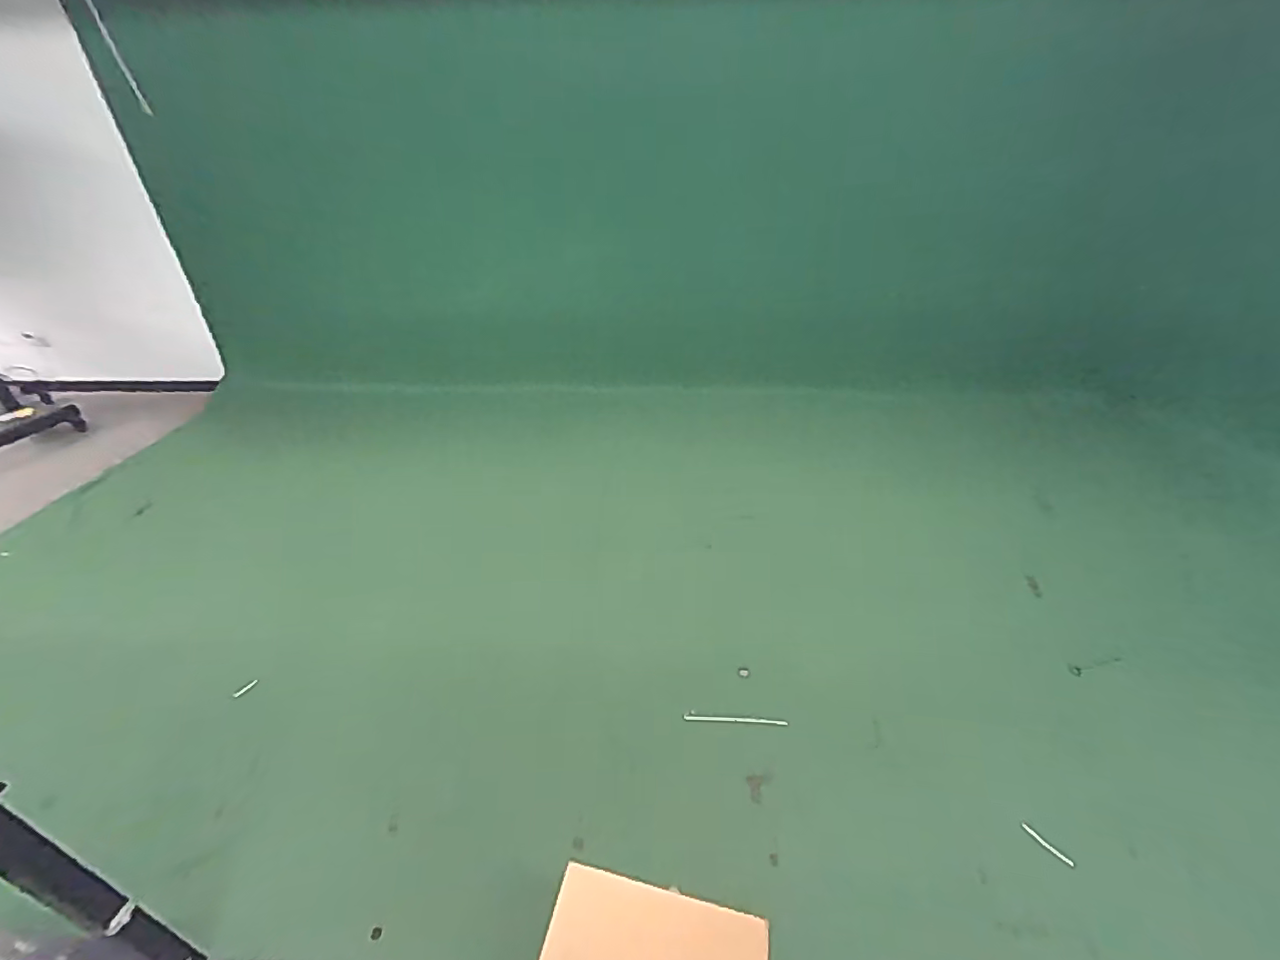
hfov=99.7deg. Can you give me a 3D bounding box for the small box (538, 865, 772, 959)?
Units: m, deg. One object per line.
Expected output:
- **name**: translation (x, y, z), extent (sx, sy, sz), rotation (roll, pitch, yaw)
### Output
- **small box**: translation (-0.001, 0.453, 0.426), extent (0.179, 0.176, 0.168), rotation (10, 34, 9)
